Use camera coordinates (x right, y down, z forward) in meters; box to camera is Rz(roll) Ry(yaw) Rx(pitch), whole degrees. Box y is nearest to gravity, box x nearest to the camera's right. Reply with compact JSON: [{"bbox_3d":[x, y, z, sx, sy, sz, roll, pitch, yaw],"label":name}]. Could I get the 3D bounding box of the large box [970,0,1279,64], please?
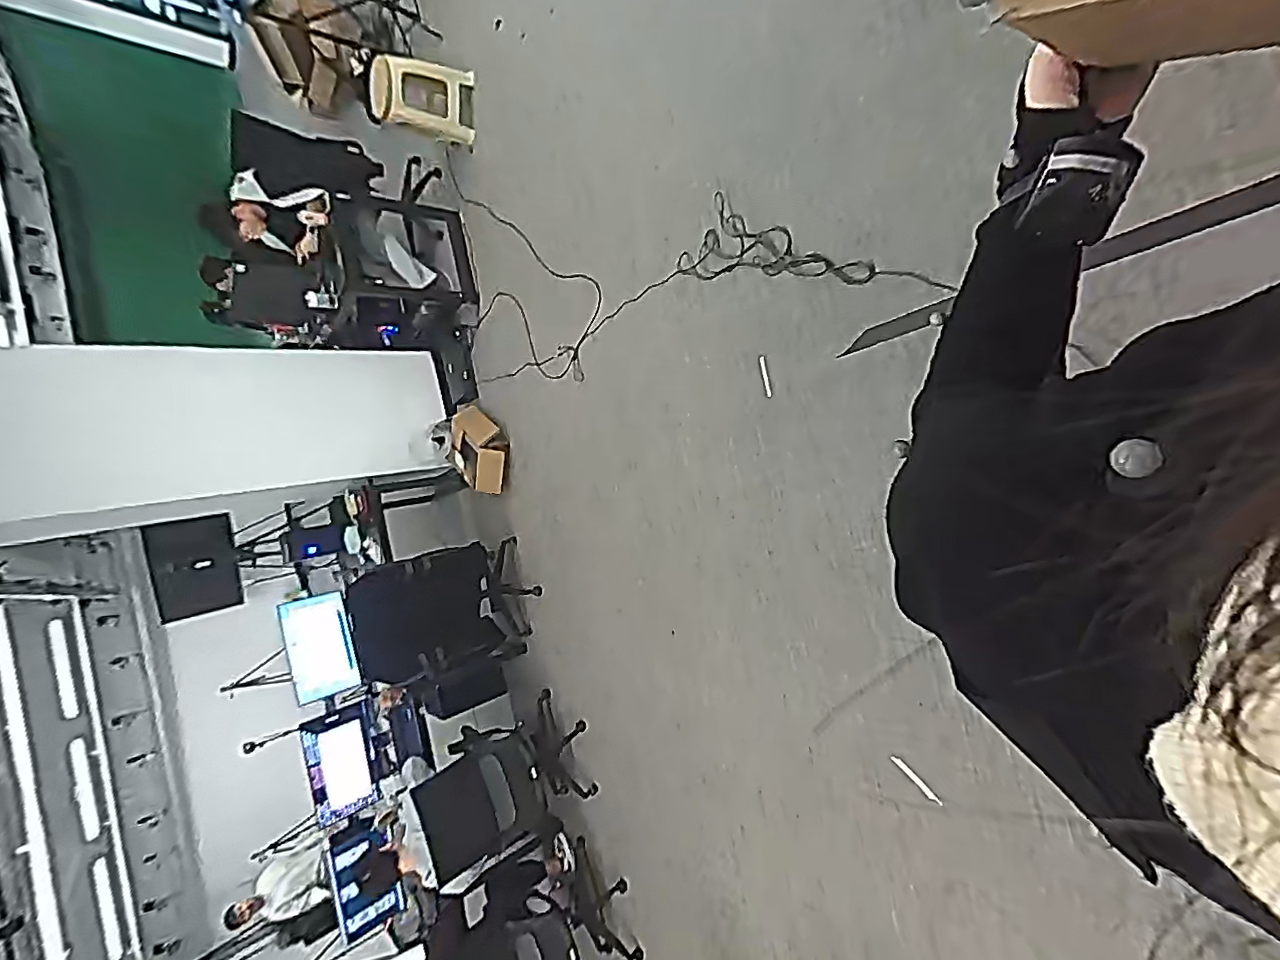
[{"bbox_3d":[0.362,-0.322,0.112,0.408,0.320,0.320,20,127,38],"label":"large box"}]
